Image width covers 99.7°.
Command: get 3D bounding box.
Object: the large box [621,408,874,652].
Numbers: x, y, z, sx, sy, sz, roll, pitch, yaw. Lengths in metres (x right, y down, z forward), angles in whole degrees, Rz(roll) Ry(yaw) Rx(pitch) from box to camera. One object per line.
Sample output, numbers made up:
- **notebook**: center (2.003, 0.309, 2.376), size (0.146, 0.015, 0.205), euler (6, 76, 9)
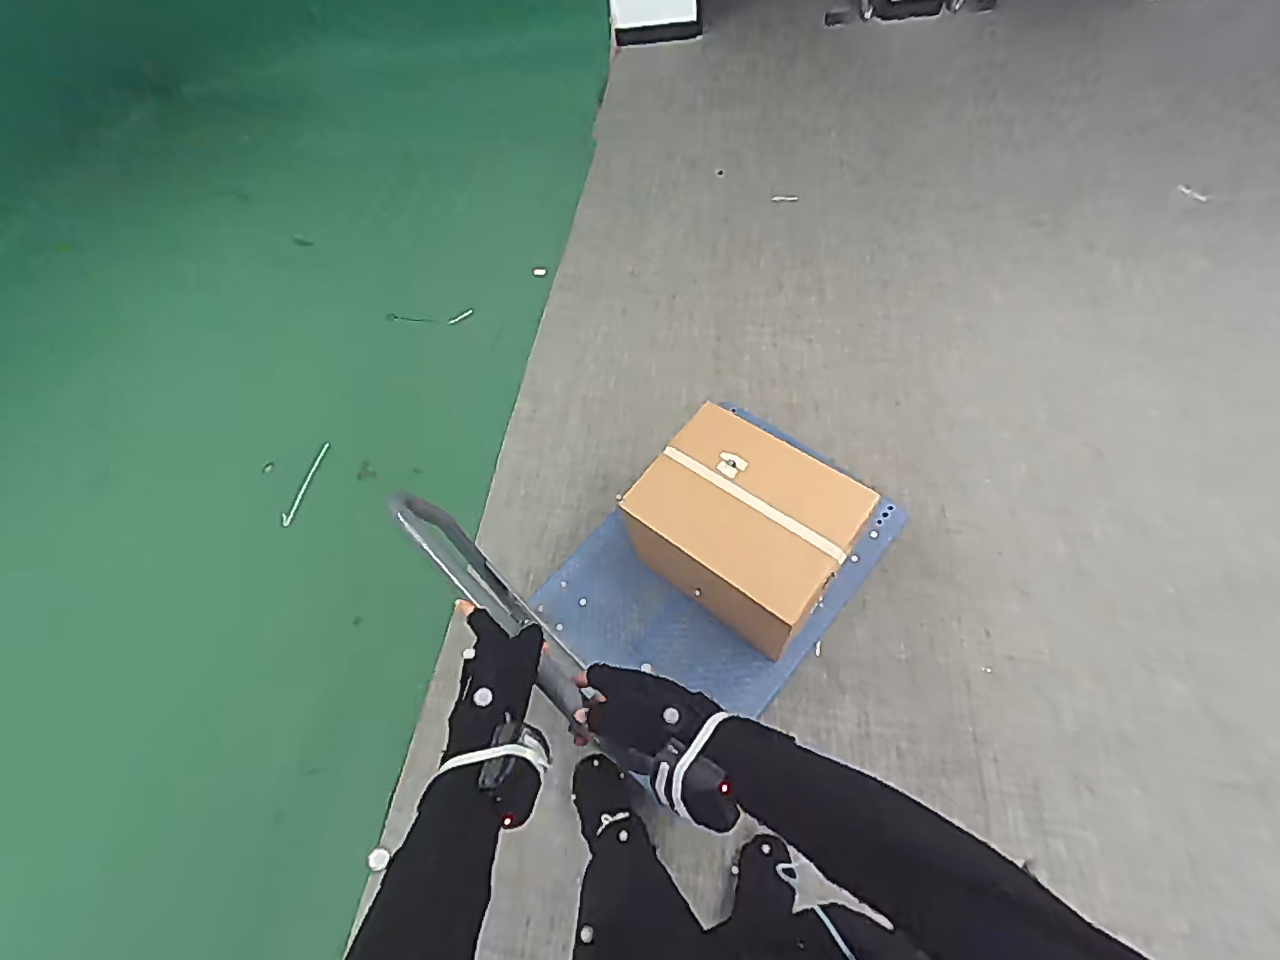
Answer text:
- **large box**: center (0.230, 0.115, 1.195), size (0.408, 0.320, 0.320), euler (32, 71, 24)
